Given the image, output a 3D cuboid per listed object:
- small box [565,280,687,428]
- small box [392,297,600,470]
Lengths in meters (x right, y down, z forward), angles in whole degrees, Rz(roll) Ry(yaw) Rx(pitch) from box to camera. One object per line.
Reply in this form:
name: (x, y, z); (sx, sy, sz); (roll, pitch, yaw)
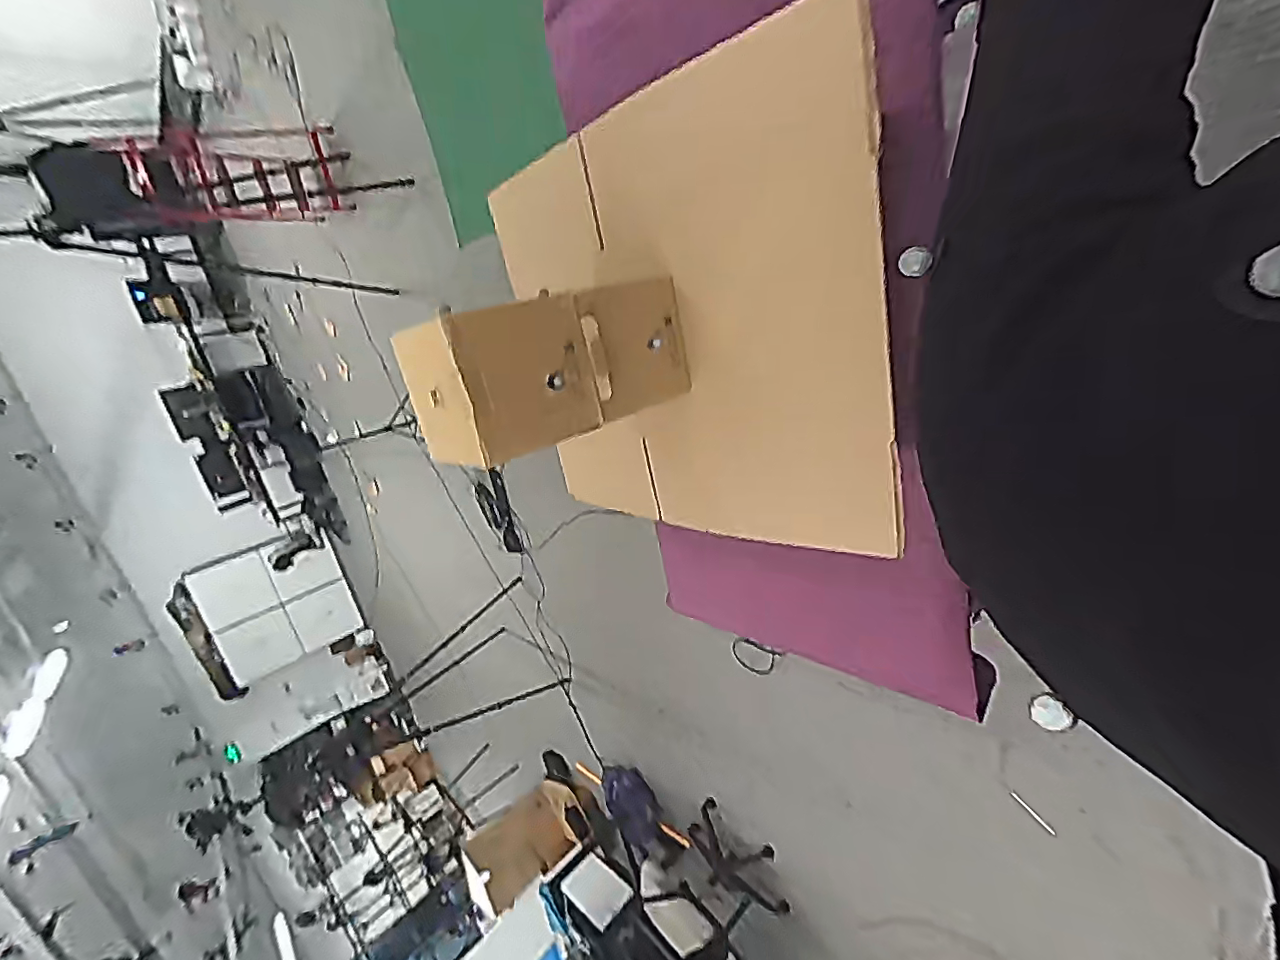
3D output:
small box: (-0.059, -0.179, 0.771); (0.179, 0.176, 0.168); (8, 117, 48)
small box: (-0.176, -0.121, 0.674); (0.179, 0.176, 0.168); (6, 115, 48)
